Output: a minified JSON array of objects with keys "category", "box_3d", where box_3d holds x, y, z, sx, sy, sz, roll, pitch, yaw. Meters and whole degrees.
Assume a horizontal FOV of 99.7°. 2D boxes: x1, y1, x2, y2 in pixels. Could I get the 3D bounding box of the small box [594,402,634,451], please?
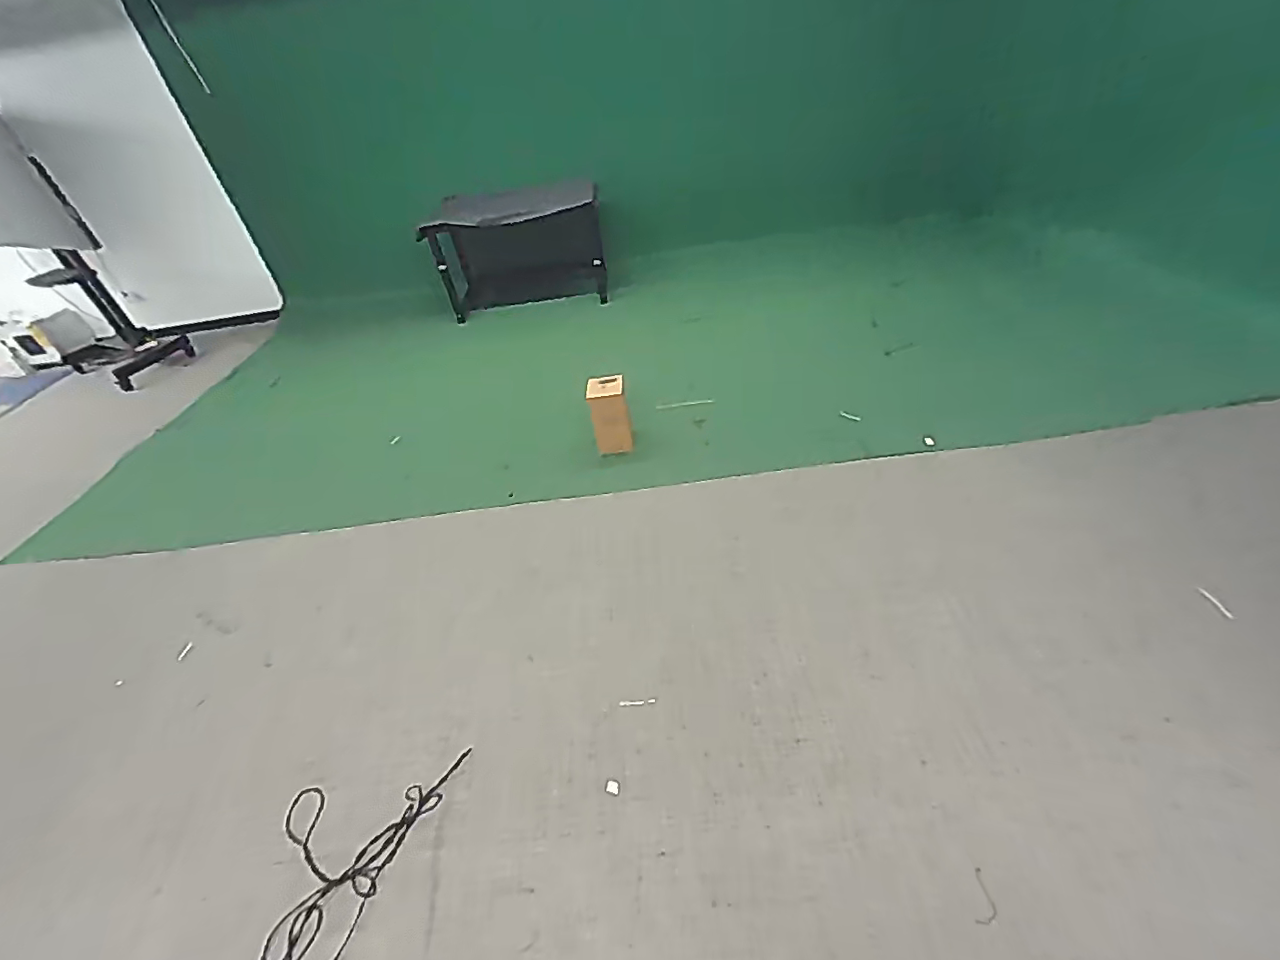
[{"category":"small box","box_3d":[-0.123,-0.254,2.633,0.168,0.176,0.179,-7,38,4]}]
